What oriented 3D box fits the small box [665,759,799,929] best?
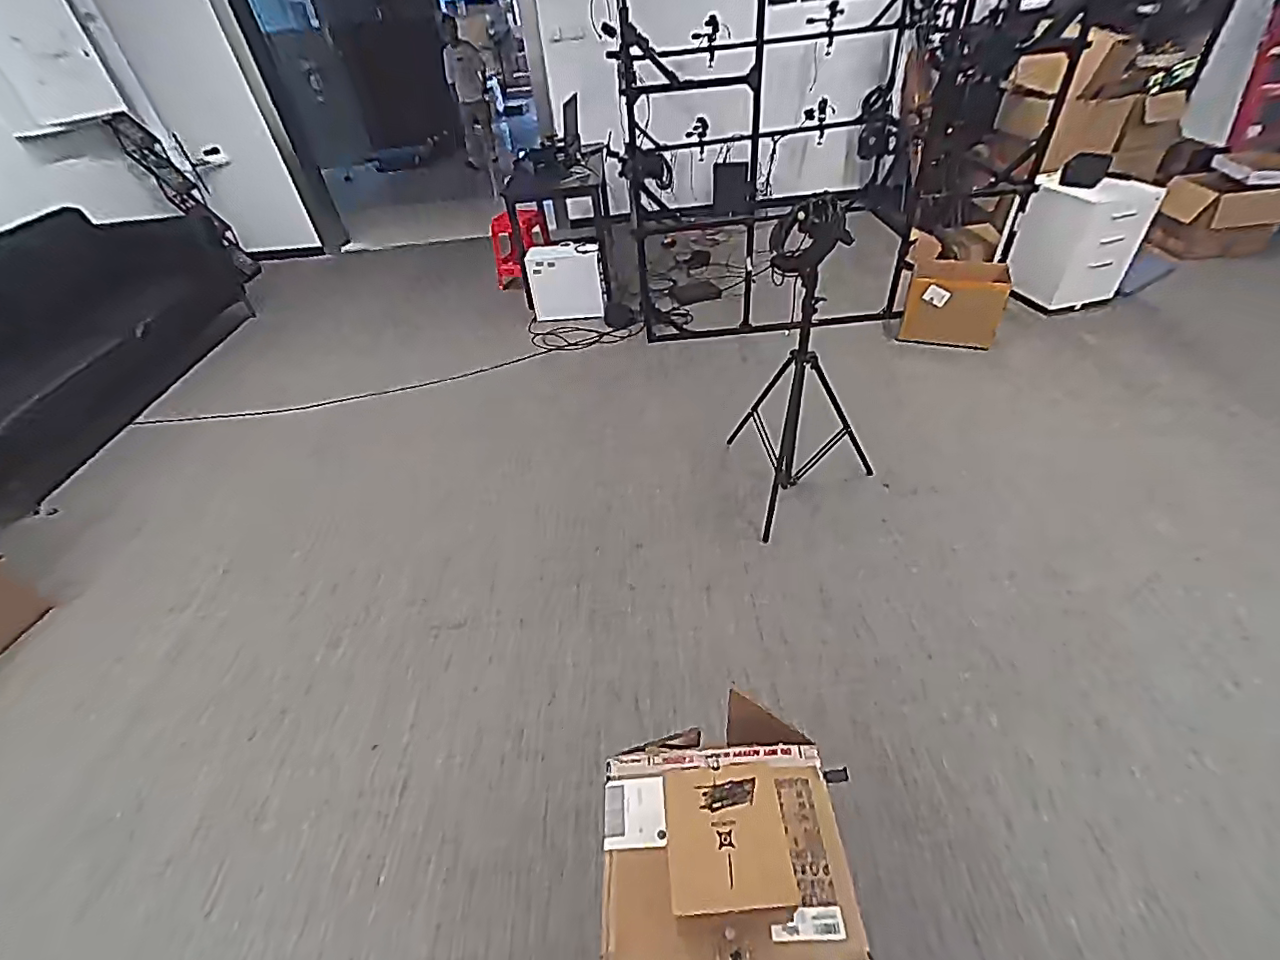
[{"bbox_3d":[0.126,0.542,0.806,0.168,0.176,0.179,-6,45,2],"label":"small box"}]
